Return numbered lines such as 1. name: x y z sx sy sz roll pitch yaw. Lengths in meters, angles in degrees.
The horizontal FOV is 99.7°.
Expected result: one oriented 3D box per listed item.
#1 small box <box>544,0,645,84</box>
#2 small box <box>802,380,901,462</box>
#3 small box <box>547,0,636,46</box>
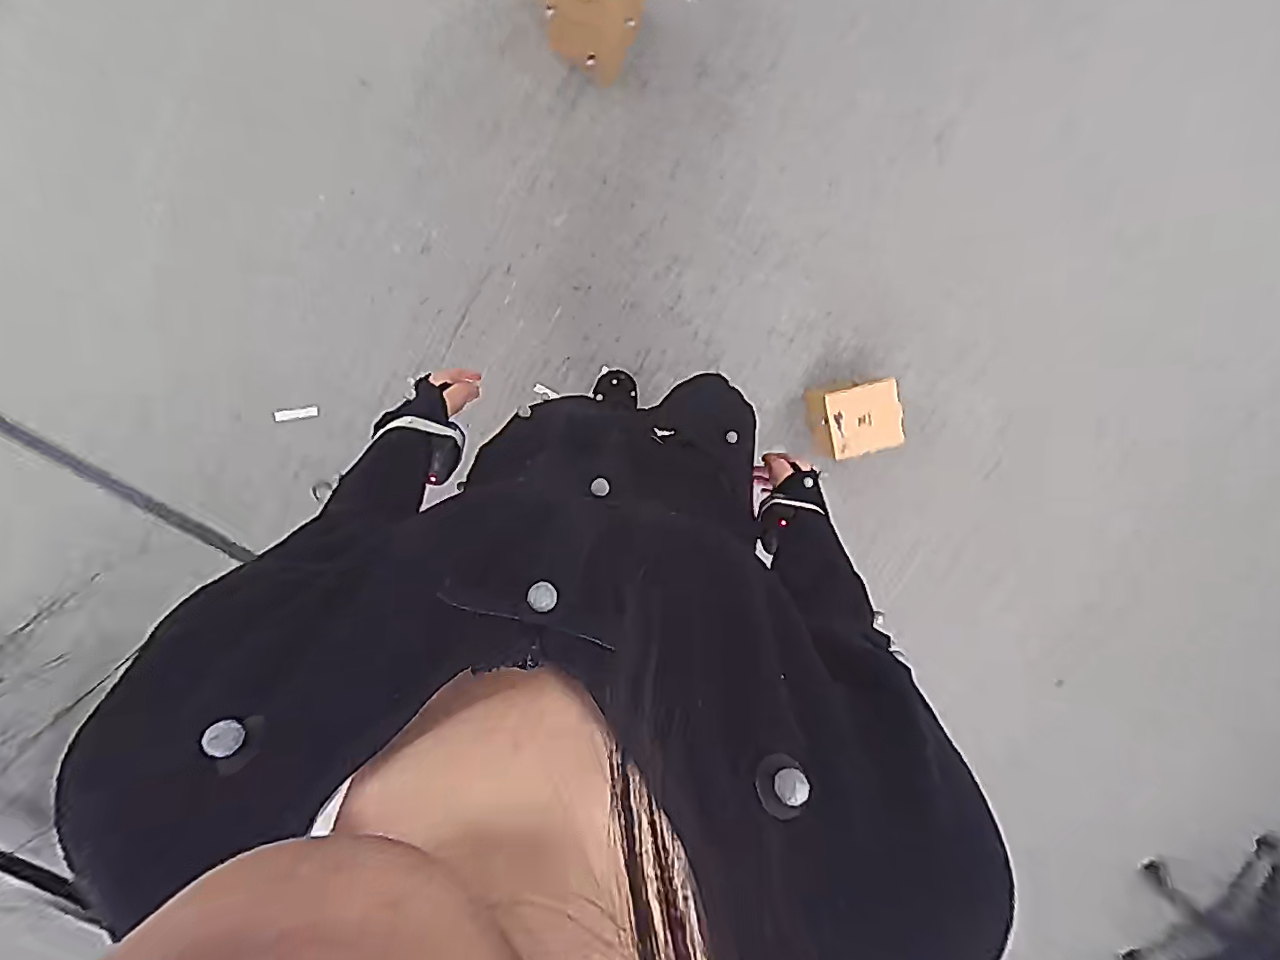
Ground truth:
1. small box: -0.094 -1.039 1.204 0.168 0.176 0.179 27 99 -7
2. small box: 0.541 -0.158 1.397 0.179 0.176 0.168 -14 103 2
3. small box: -0.087 -1.002 1.044 0.168 0.176 0.179 28 100 -7
